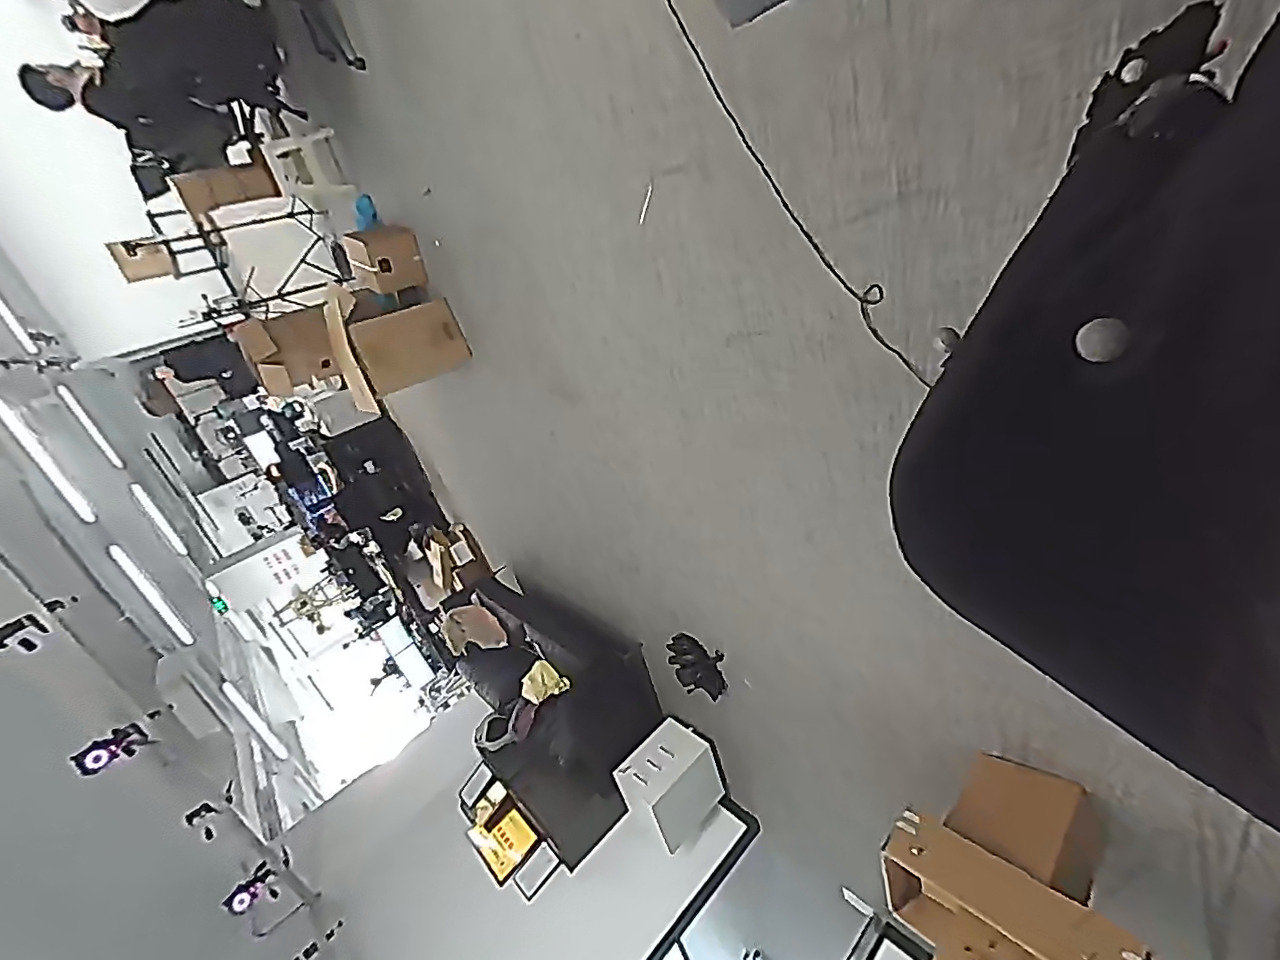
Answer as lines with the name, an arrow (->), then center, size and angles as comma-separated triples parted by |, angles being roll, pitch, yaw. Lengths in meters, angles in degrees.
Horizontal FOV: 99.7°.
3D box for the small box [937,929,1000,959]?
small box -> 0.939, 1.431, 1.511 | 0.168, 0.176, 0.179 | 6, 122, 51
